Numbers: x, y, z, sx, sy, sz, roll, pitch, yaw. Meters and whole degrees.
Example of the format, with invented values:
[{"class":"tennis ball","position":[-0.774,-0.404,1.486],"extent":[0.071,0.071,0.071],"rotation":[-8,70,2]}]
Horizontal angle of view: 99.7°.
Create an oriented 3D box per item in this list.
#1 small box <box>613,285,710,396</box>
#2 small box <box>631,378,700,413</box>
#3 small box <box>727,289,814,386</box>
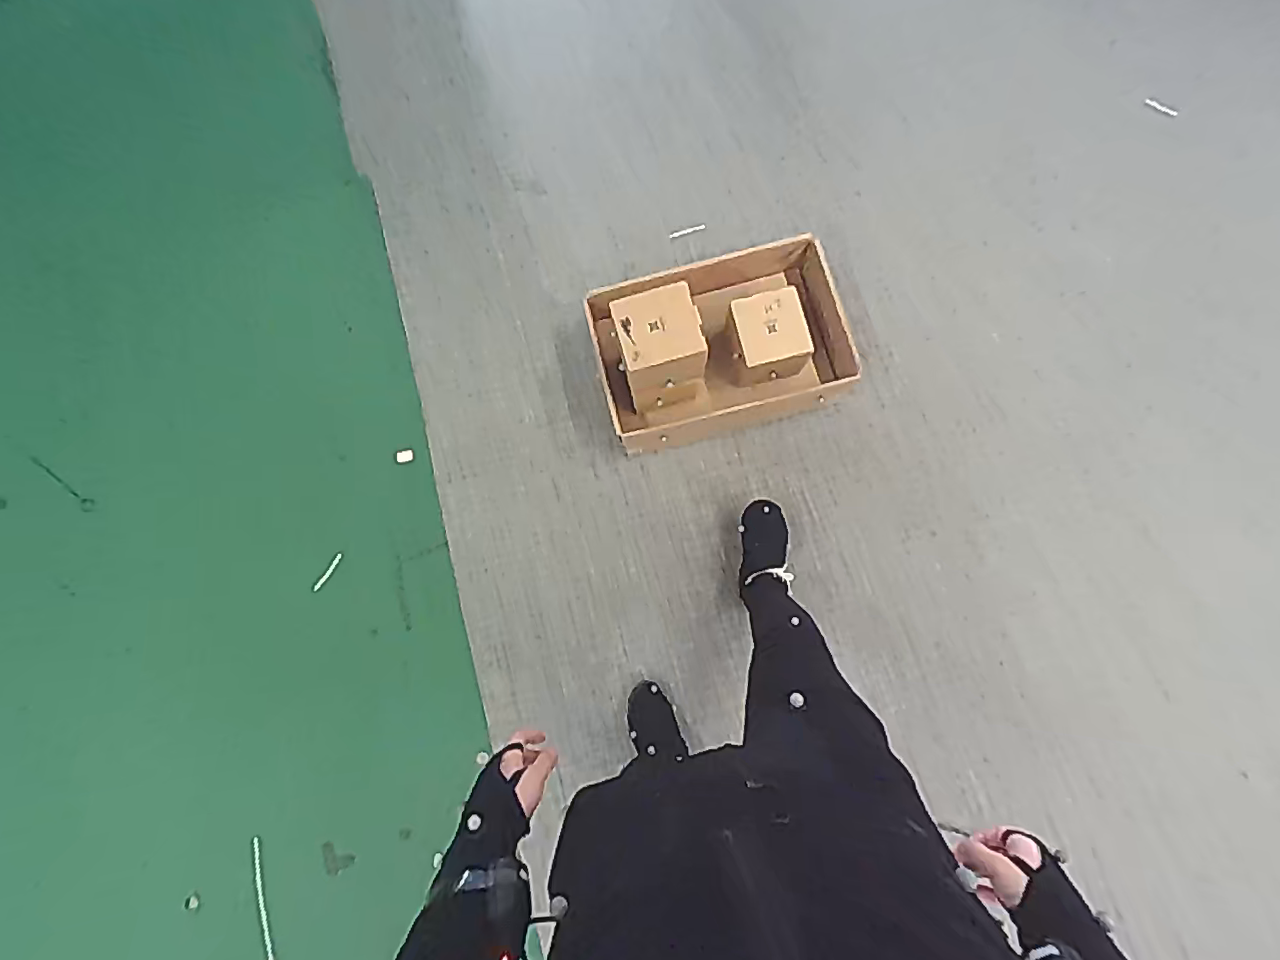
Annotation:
[{"class":"small box","position":[0.047,-0.307,1.222],"extent":[0.179,0.176,0.168],"rotation":[-15,79,0]},{"class":"small box","position":[0.052,-0.281,1.384],"extent":[0.168,0.176,0.179],"rotation":[-14,79,0]},{"class":"small box","position":[0.326,-0.351,1.380],"extent":[0.168,0.176,0.179],"rotation":[-13,80,1]}]
